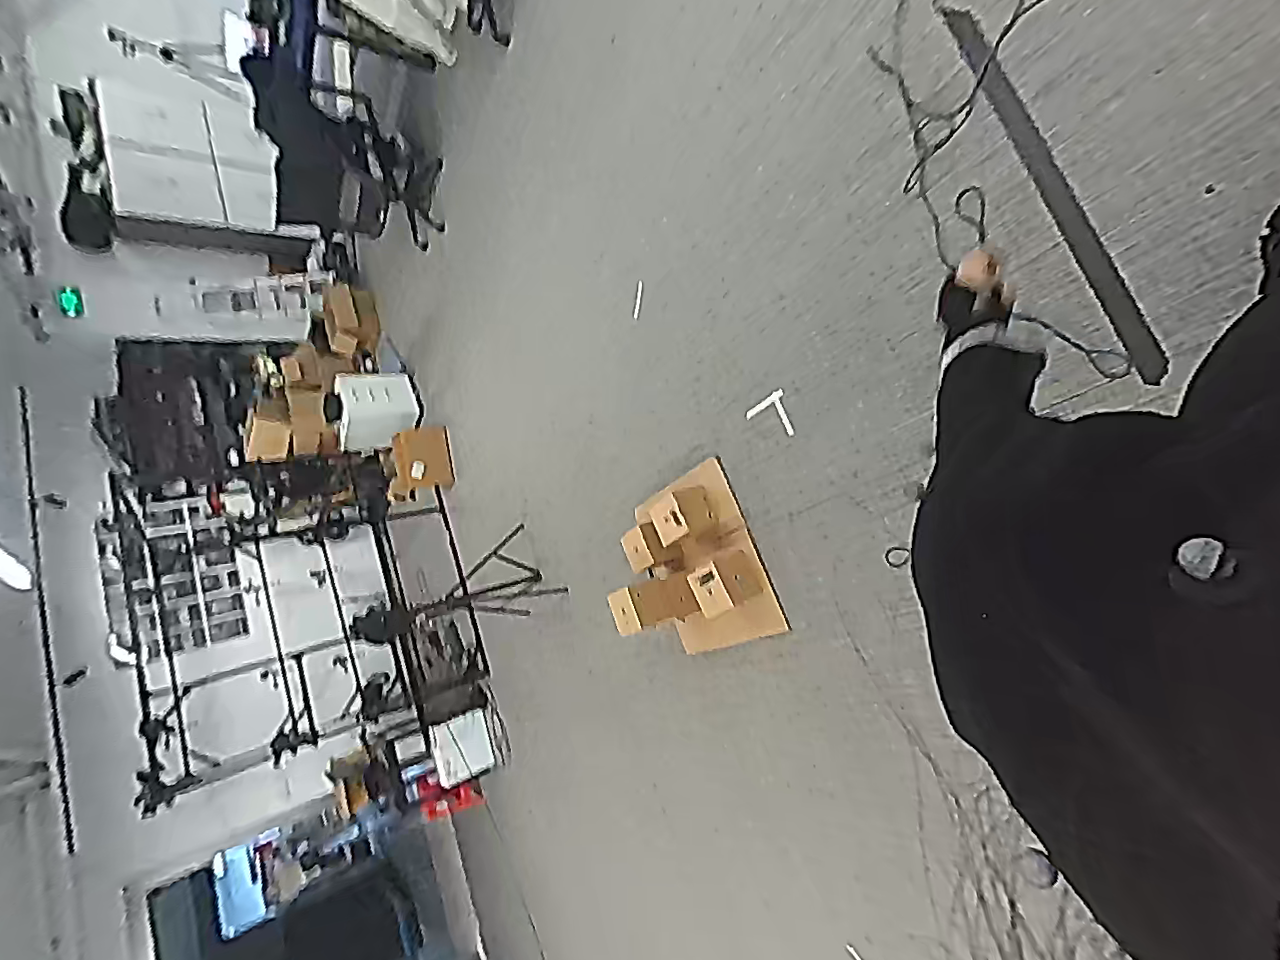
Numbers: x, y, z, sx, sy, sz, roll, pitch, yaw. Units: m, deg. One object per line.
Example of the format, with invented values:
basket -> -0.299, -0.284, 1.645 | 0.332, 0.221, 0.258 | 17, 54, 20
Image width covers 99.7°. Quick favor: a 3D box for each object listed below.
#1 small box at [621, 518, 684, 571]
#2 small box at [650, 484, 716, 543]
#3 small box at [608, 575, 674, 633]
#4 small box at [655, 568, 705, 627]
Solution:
small box -> 0.054, 0.265, 2.307 | 0.168, 0.176, 0.179 | -43, 66, 48
small box -> 0.174, 0.127, 2.120 | 0.179, 0.176, 0.168 | -41, 67, 48
small box -> 0.006, 0.487, 2.146 | 0.168, 0.176, 0.179 | -37, 70, 50
small box -> 0.142, 0.485, 2.243 | 0.168, 0.176, 0.179 | -41, 67, 47
